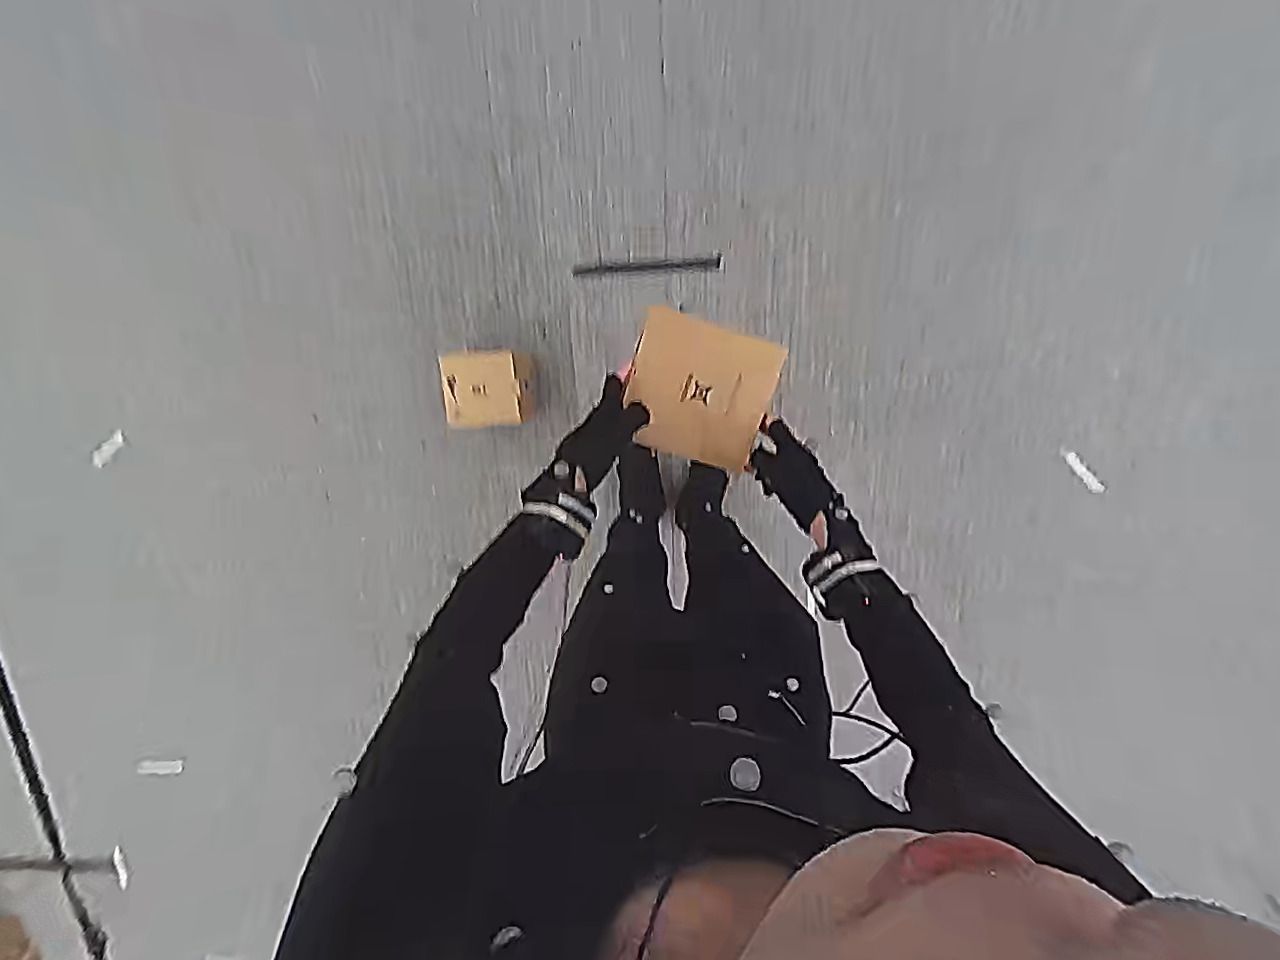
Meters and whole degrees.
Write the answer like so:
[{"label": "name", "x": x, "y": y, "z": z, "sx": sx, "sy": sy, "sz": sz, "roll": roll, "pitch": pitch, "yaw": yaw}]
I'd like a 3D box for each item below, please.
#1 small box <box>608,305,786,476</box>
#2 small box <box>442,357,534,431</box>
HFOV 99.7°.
[{"label": "small box", "x": 0.067, "y": -0.124, "z": 0.725, "sx": 0.179, "sy": 0.176, "sz": 0.168, "roll": 17, "pitch": 107, "yaw": -5}, {"label": "small box", "x": -0.365, "y": -0.216, "z": 1.335, "sx": 0.179, "sy": 0.176, "sz": 0.168, "roll": -3, "pitch": 103, "yaw": 2}]
